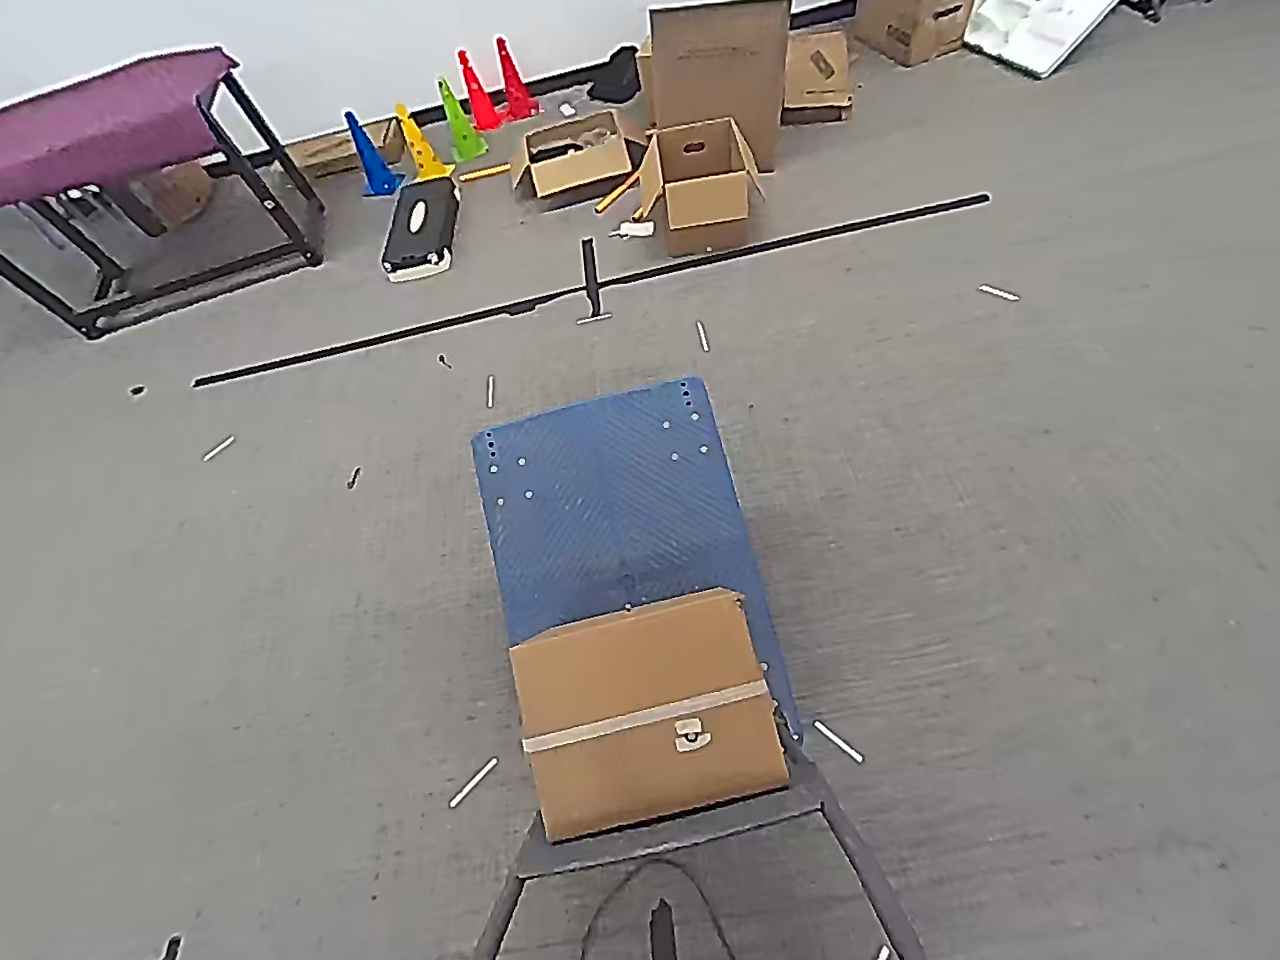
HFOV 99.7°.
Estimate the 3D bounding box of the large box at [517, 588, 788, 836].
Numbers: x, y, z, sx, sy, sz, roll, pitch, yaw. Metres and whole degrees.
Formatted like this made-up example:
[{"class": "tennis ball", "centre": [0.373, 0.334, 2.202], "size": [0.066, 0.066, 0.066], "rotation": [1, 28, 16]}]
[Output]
[{"class": "large box", "centre": [0.020, 0.413, 1.056], "size": [0.408, 0.320, 0.320], "rotation": [-15, 81, -1]}]
